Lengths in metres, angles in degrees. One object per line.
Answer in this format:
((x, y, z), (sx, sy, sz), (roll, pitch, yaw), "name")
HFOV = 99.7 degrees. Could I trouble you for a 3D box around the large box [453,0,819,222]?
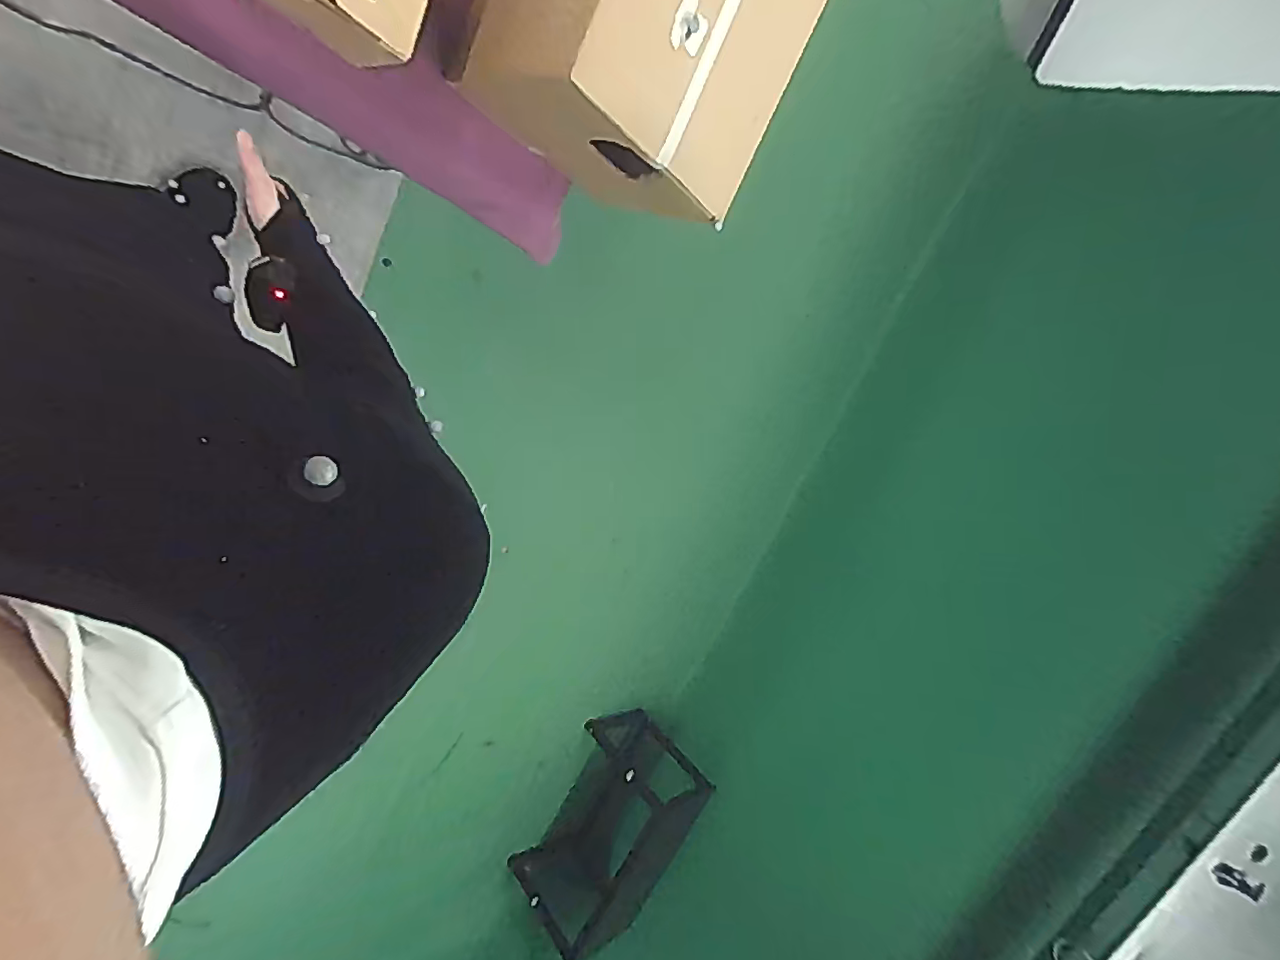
((0.006, -0.649, 0.745), (0.320, 0.320, 0.408), (12, 109, -50), "large box")
